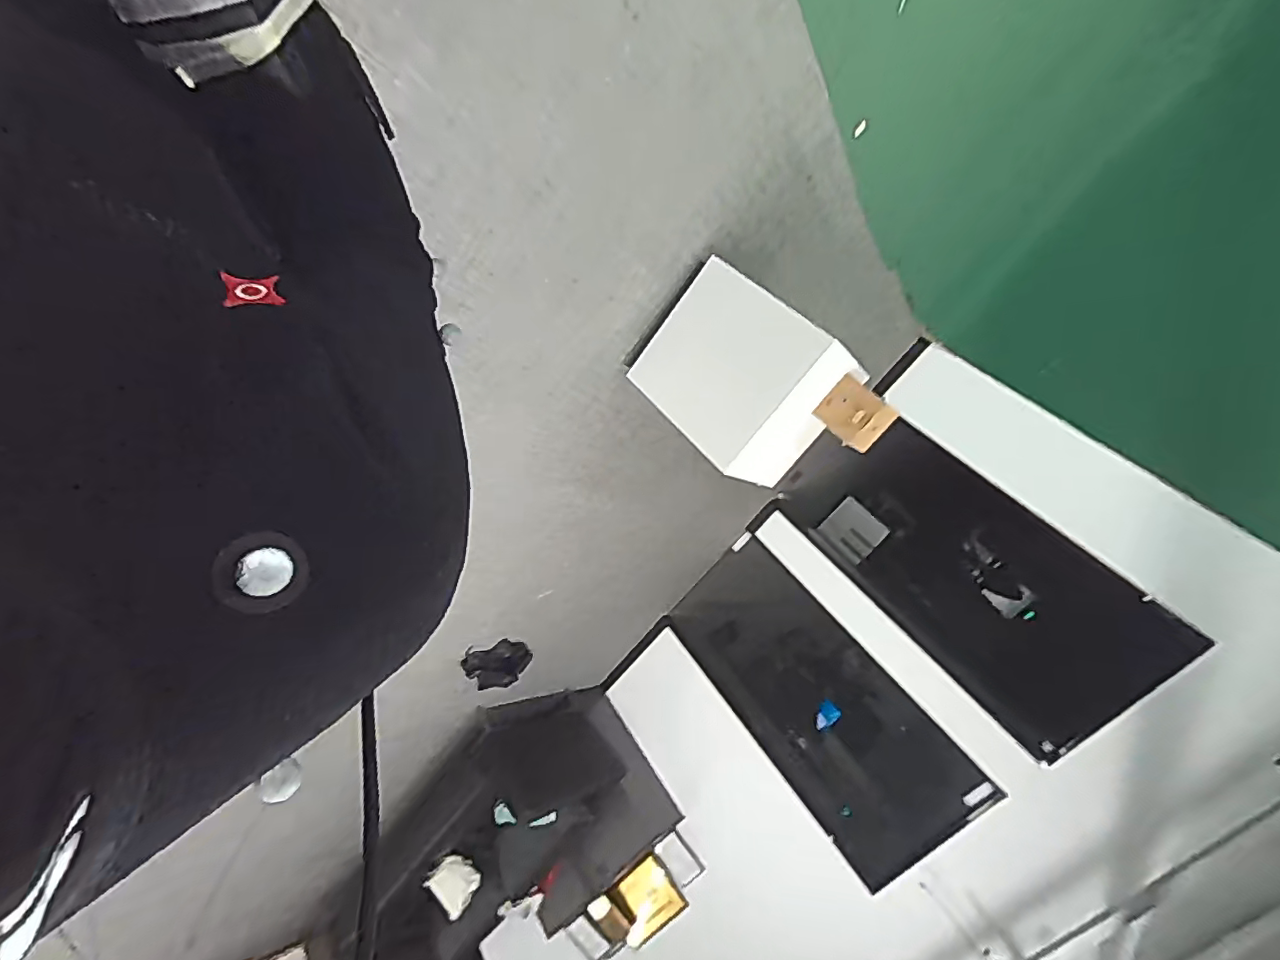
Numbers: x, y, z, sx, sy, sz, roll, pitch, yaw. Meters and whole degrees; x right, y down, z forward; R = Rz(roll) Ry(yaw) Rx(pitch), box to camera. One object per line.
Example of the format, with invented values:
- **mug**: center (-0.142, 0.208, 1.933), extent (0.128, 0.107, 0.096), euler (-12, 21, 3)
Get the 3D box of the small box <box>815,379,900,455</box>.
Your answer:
- **small box**: center (0.707, -0.207, 1.765), extent (0.179, 0.176, 0.168), euler (12, 122, -51)
